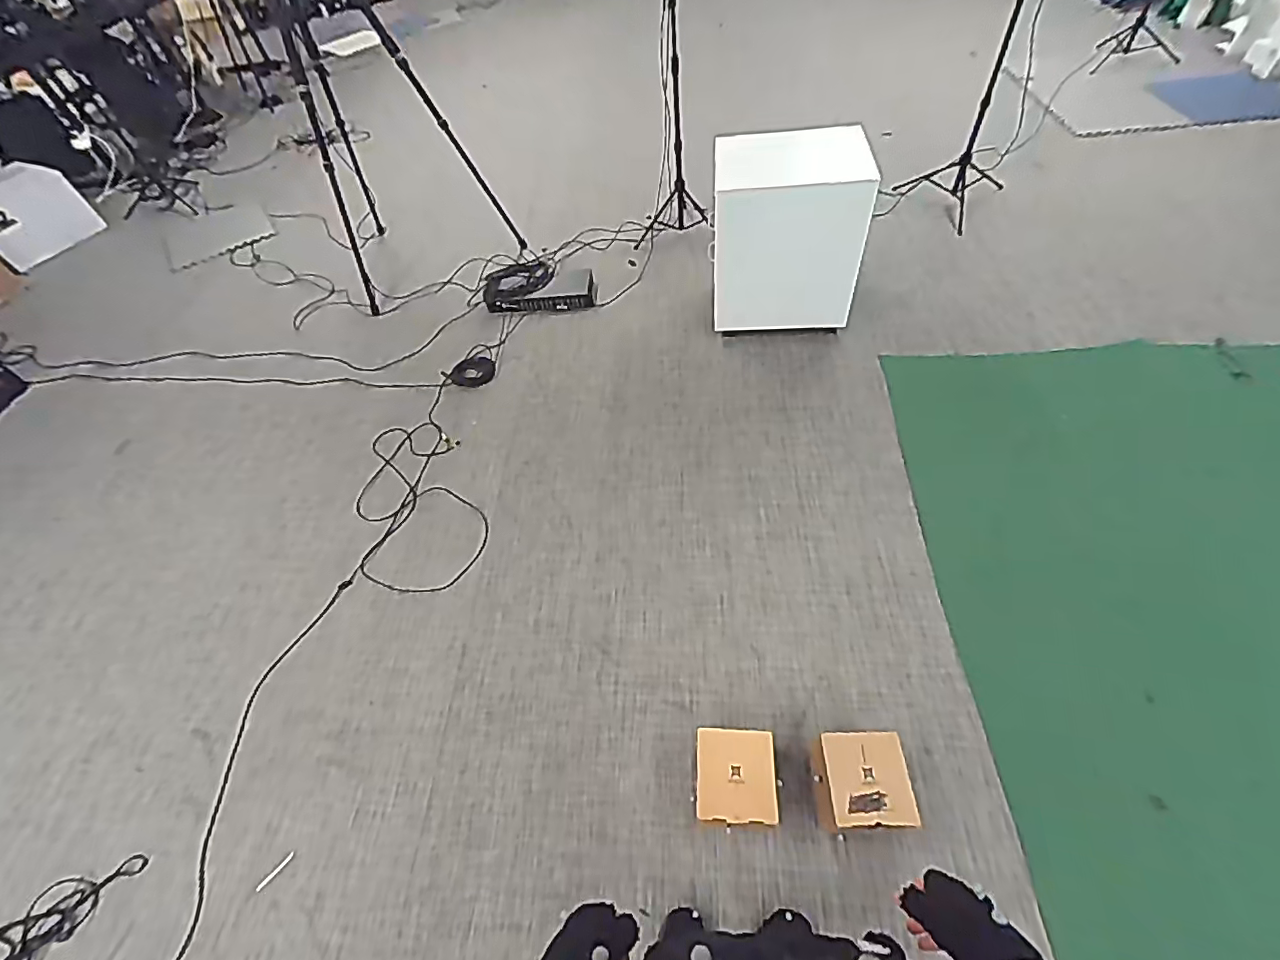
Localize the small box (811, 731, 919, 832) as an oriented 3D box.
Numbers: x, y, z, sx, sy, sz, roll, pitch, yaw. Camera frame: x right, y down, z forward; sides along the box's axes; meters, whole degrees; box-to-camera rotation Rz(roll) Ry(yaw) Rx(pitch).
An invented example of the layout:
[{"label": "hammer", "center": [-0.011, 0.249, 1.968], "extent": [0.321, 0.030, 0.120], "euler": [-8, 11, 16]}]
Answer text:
[{"label": "small box", "center": [0.478, 0.658, 1.176], "extent": [0.168, 0.176, 0.179], "euler": [-3, 53, 6]}]

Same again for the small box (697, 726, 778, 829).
[{"label": "small box", "center": [0.211, 0.666, 1.207], "extent": [0.168, 0.176, 0.179], "euler": [0, 54, 7]}]
